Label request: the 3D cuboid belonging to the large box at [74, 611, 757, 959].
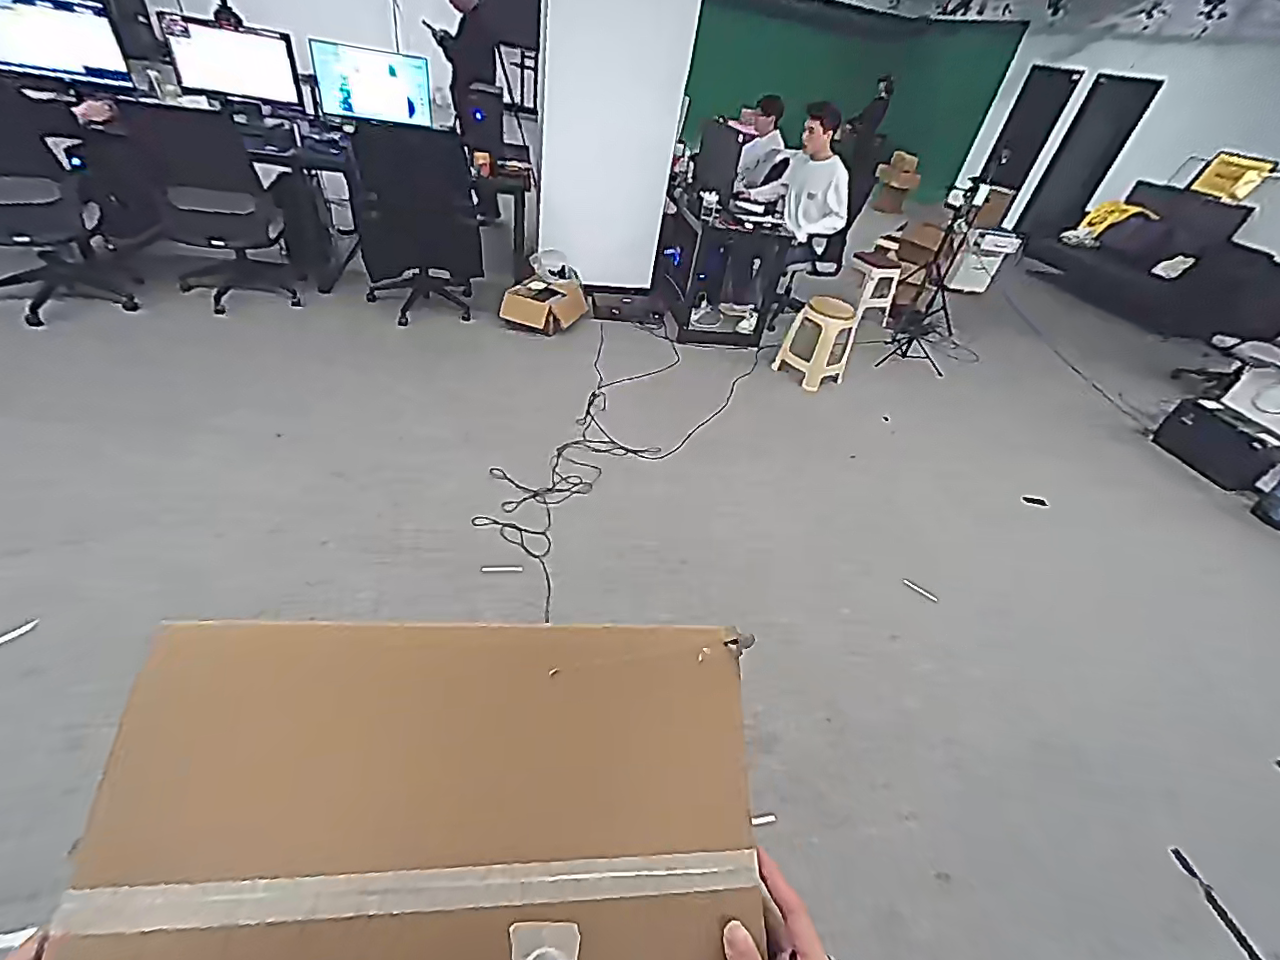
[{"bbox_3d":[-0.145,0.302,0.481,0.408,0.320,0.320,3,67,-8],"label":"large box"}]
